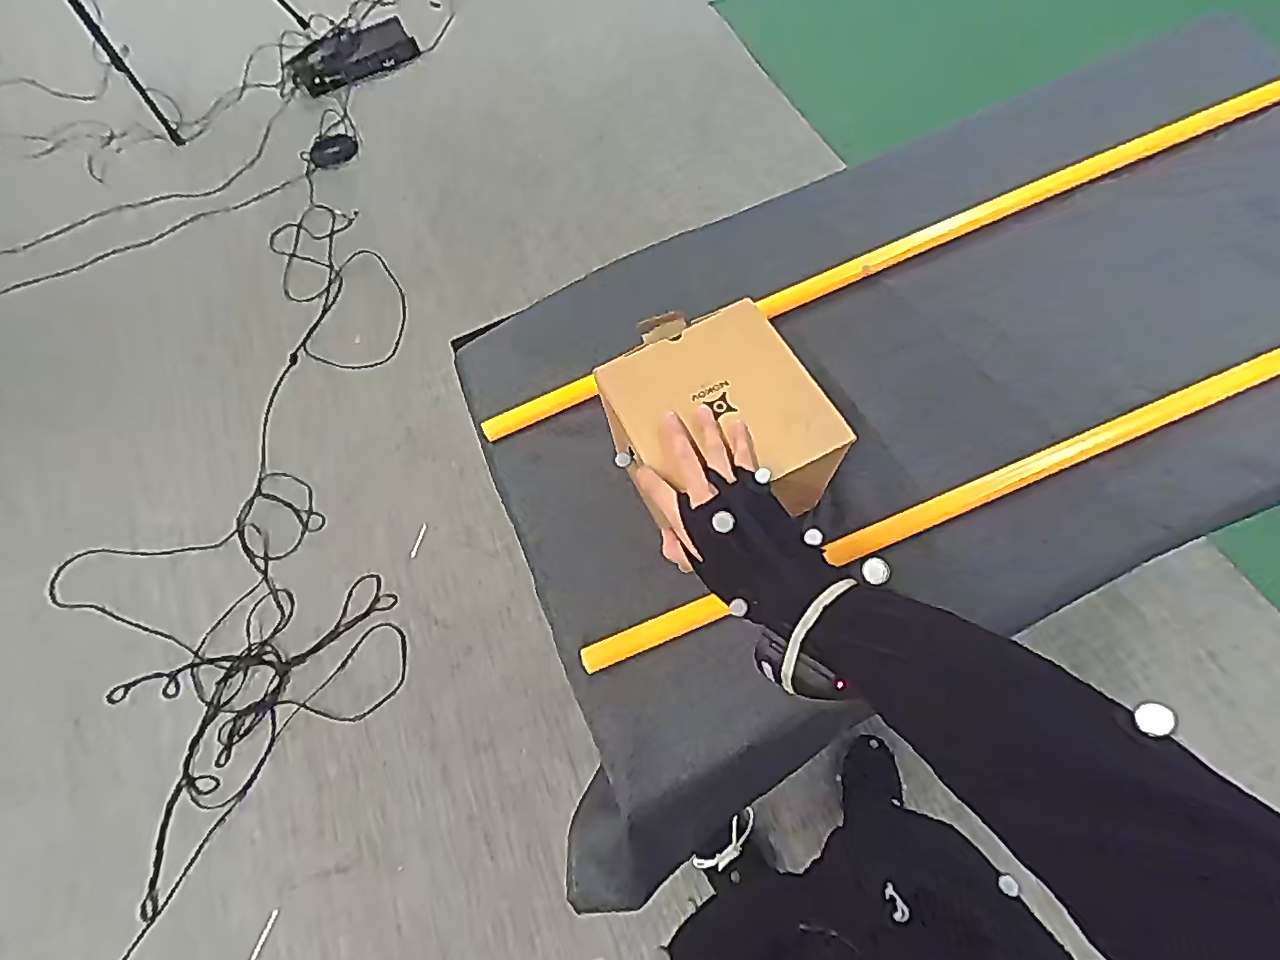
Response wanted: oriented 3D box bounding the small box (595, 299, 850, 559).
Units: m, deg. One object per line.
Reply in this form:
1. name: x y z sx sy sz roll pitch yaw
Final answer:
1. small box: 0.076 -0.036 0.543 0.168 0.176 0.179 -26 66 -5
